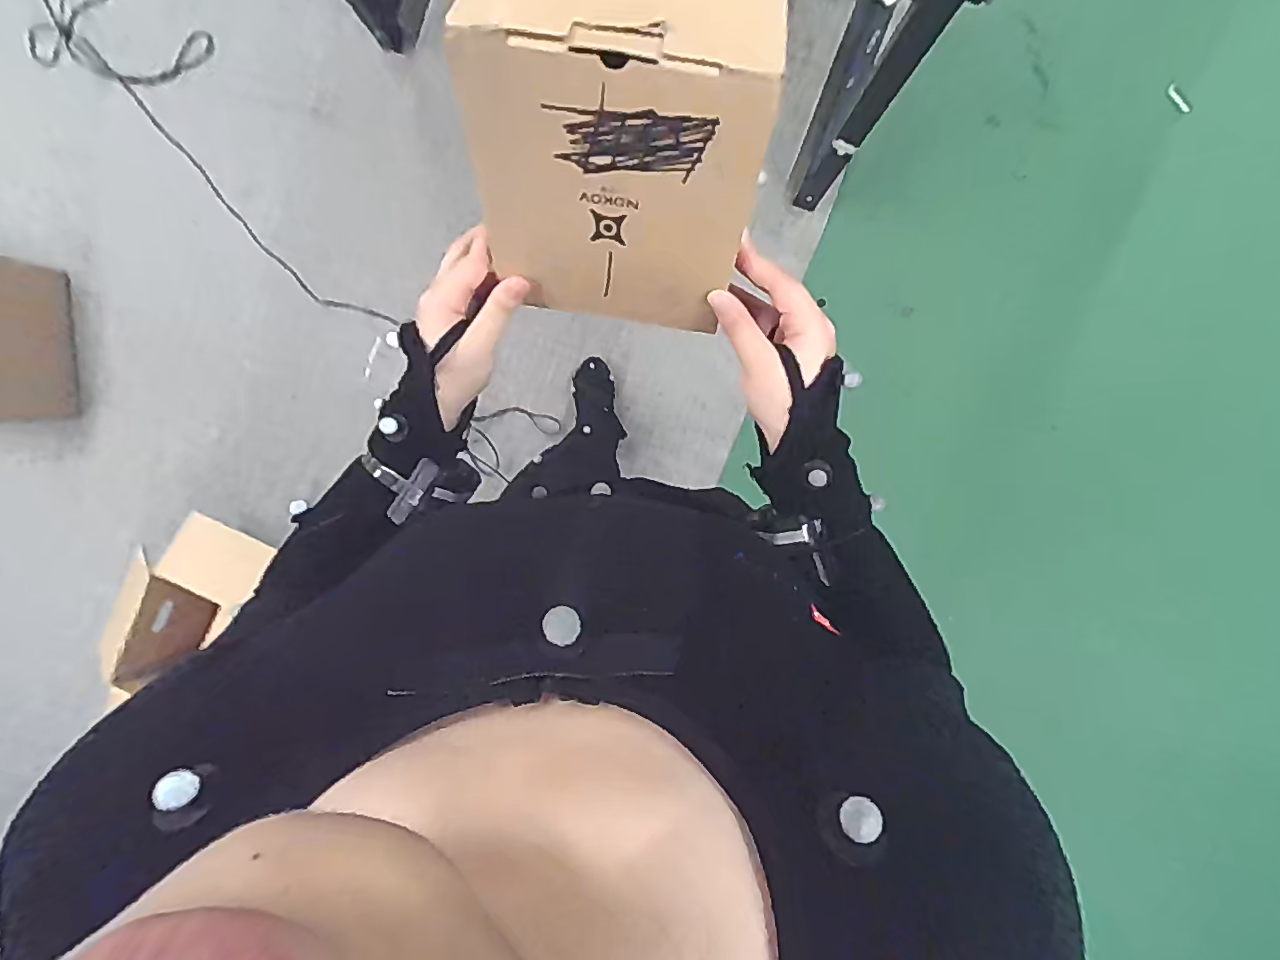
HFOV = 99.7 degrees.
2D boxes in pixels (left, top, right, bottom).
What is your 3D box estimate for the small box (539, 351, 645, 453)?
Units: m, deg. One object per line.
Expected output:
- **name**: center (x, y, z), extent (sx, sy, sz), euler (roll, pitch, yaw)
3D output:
- **small box**: center (-0.111, -0.197, 1.348), extent (0.179, 0.168, 0.176), euler (-49, 125, -14)
